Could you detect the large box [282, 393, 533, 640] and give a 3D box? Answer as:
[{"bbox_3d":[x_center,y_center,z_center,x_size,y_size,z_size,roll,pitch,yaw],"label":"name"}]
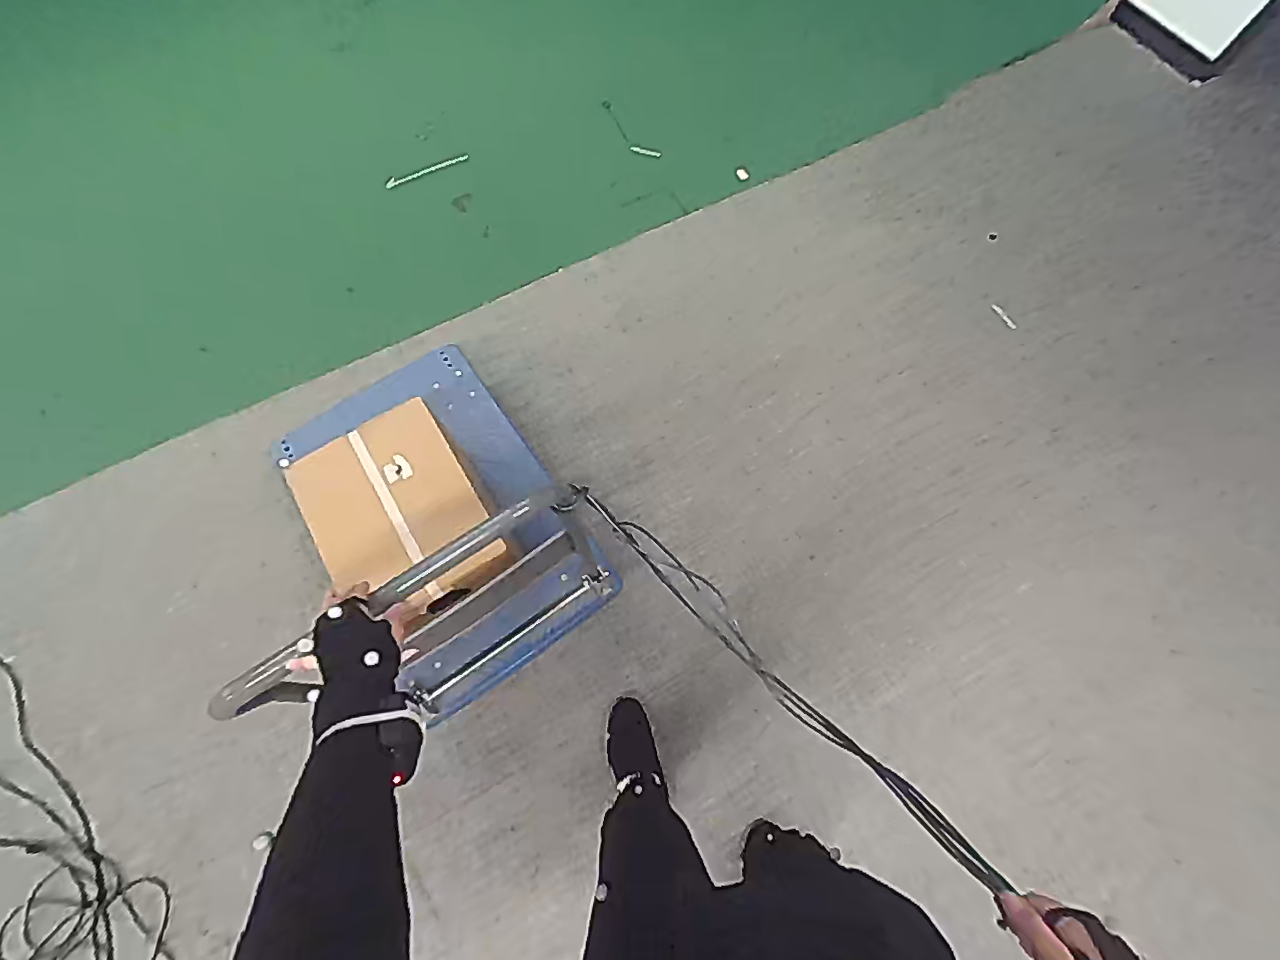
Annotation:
[{"bbox_3d":[-0.492,0.095,1.208,0.320,0.320,0.408,-31,72,-11],"label":"large box"}]
